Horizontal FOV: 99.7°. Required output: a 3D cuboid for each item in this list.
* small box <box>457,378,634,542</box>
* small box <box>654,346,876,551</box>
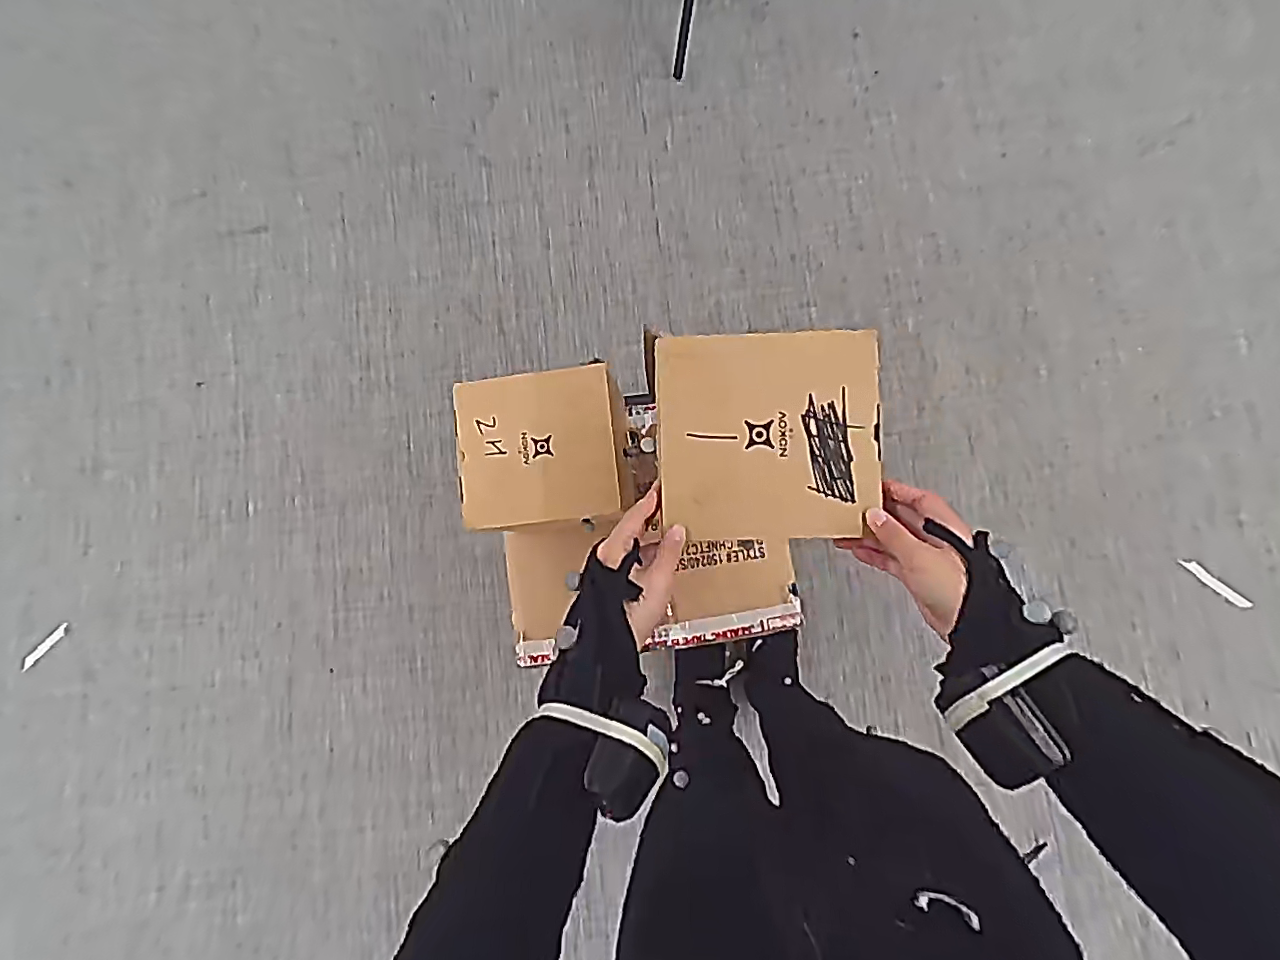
[{"bbox_3d":[-0.104,-0.016,0.669,0.179,0.176,0.168,-7,83,5],"label":"small box"},{"bbox_3d":[0.103,-0.024,0.516,0.179,0.176,0.168,-2,88,2],"label":"small box"}]
